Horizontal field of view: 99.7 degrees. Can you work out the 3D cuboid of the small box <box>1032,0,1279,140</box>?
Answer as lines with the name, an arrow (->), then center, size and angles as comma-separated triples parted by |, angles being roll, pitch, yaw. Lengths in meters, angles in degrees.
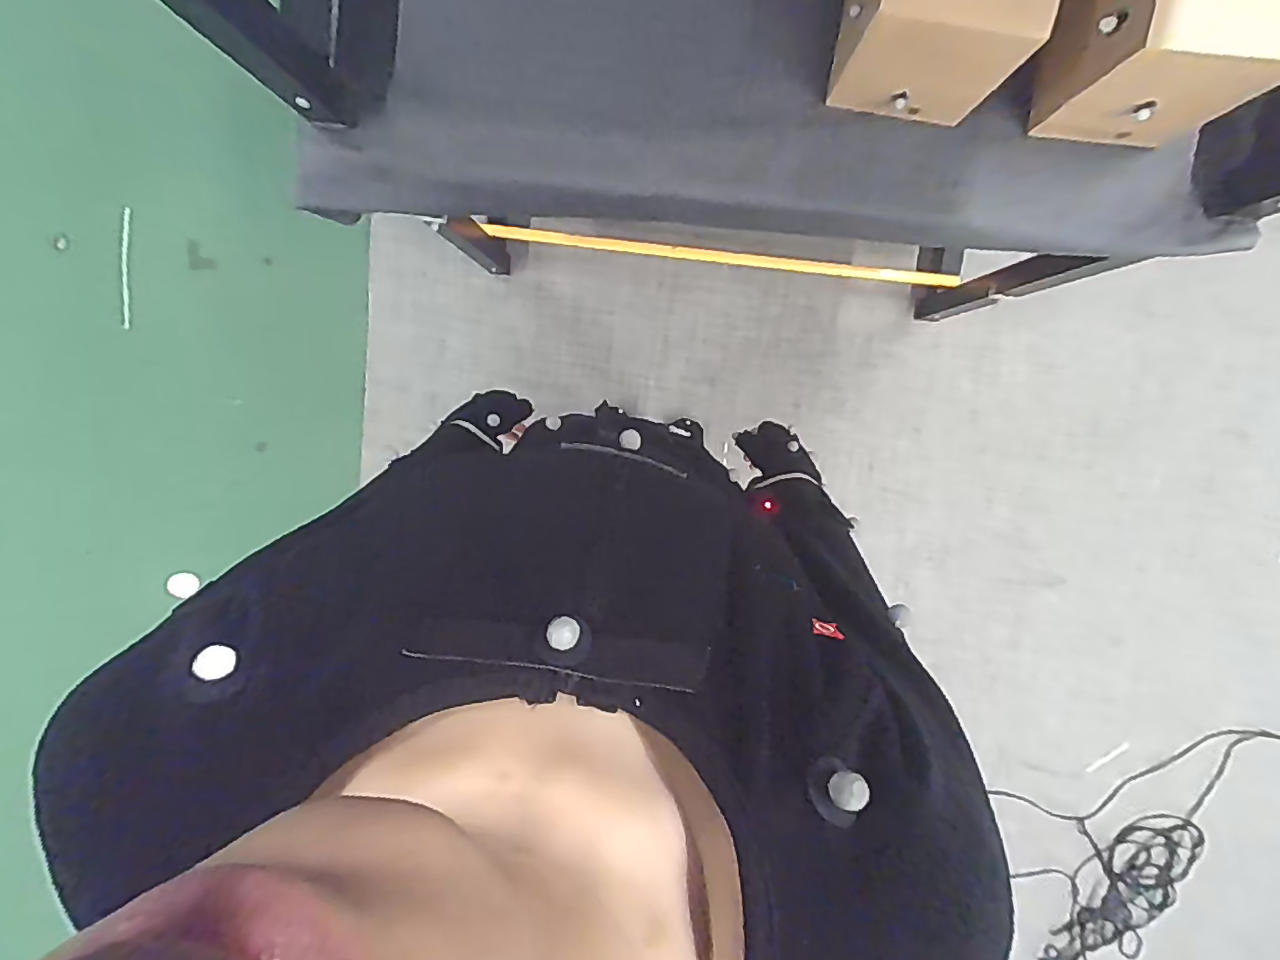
small box -> 0.565, -0.496, 0.577 | 0.168, 0.176, 0.179 | 6, 97, 0
